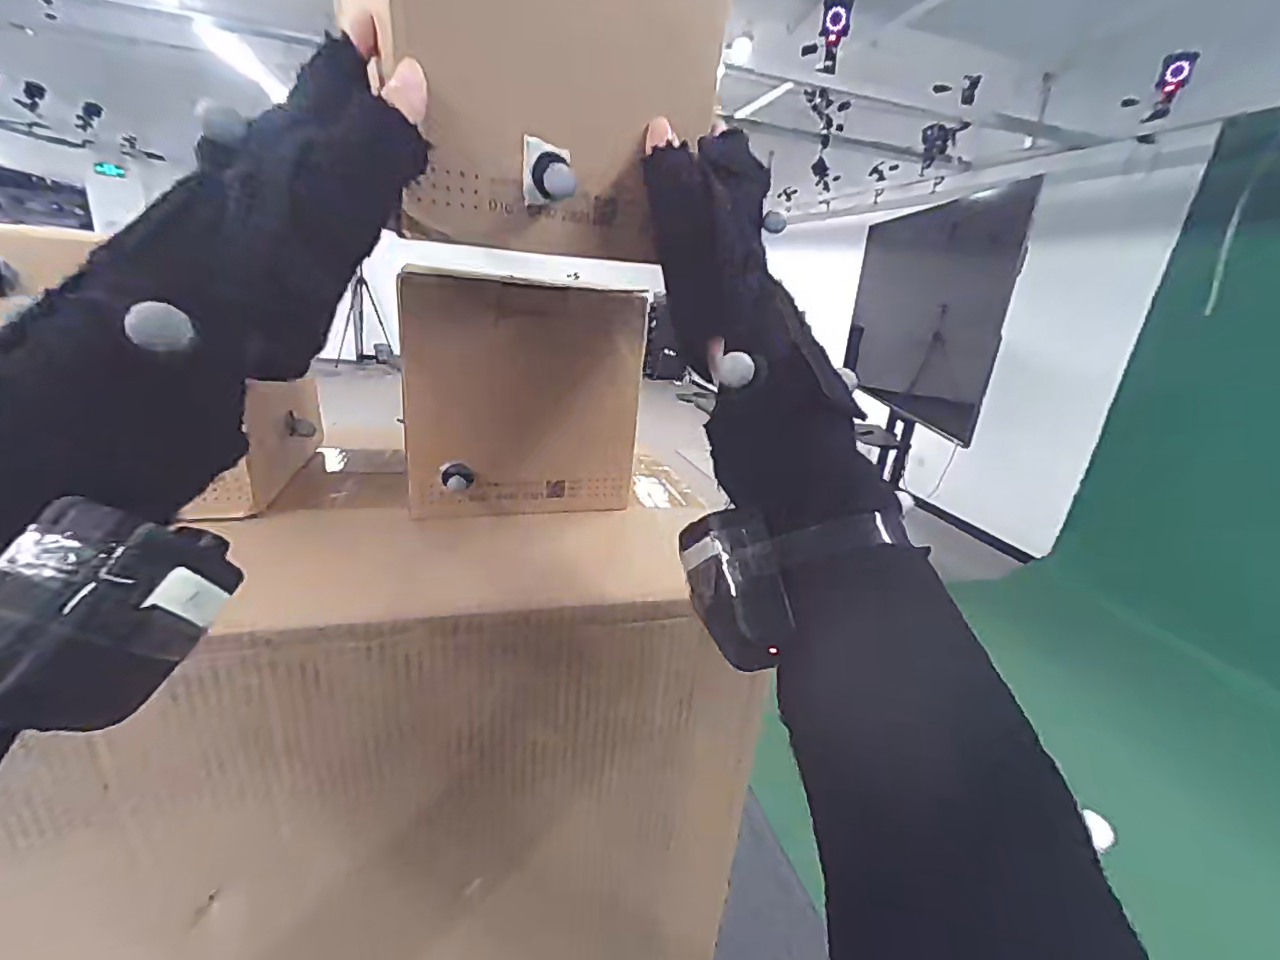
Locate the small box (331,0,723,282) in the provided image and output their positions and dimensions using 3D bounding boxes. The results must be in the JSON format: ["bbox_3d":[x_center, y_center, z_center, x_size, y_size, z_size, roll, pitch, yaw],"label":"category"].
[{"bbox_3d":[-0.077,-0.222,0.314,0.168,0.176,0.179,-11,34,-30],"label":"small box"}]

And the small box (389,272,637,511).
[{"bbox_3d":[-0.108,-0.079,0.457,0.168,0.176,0.179,-3,22,-19],"label":"small box"}]

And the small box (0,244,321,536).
[{"bbox_3d":[-0.348,-0.072,0.389,0.168,0.176,0.179,-3,21,-15],"label":"small box"}]
